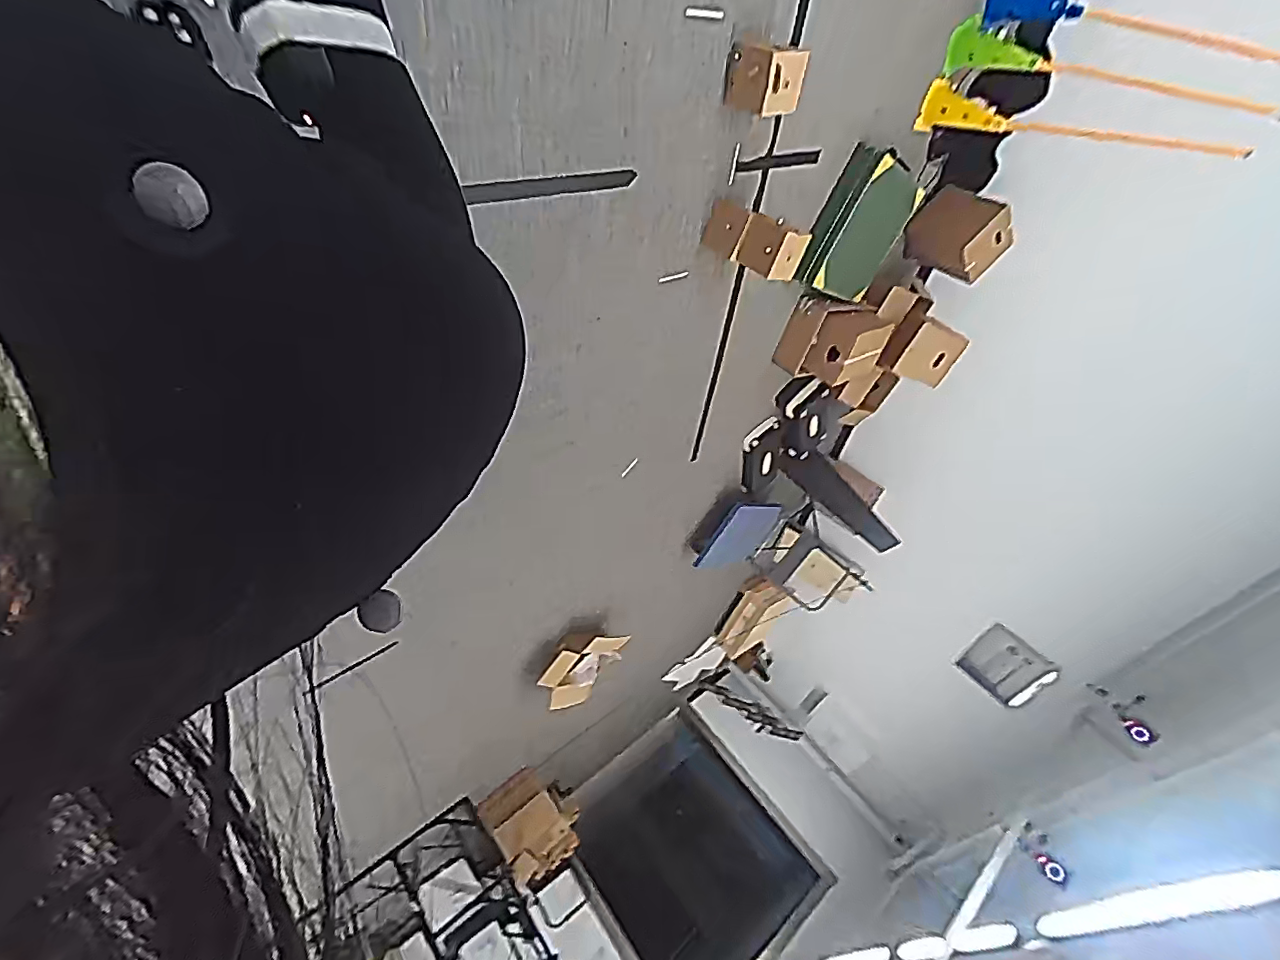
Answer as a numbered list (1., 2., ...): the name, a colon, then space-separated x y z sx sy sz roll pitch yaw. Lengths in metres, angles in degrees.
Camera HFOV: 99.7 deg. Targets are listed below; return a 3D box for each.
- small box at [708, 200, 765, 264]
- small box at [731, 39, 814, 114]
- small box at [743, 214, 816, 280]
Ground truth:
1. small box: 0.390 -0.957 2.088 0.168 0.176 0.179 -15 139 -43
2. small box: 0.414 -1.285 1.719 0.179 0.176 0.168 -29 146 -29
3. small box: 0.515 -0.870 2.018 0.168 0.176 0.179 -16 140 -41
